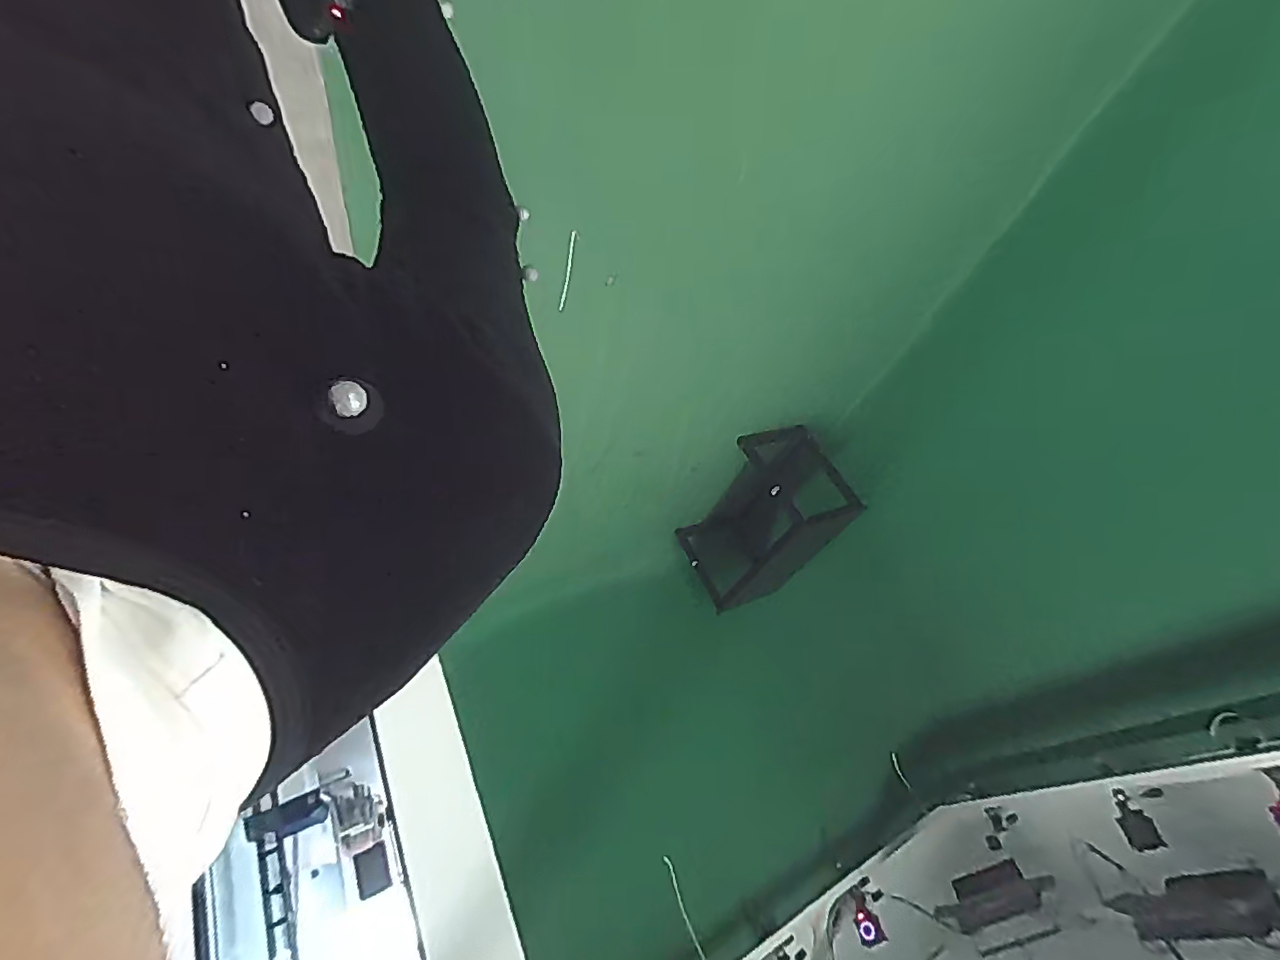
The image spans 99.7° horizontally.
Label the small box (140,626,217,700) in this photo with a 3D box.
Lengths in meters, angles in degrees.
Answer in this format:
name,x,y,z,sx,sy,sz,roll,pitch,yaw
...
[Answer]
name,x,y,z,sx,sy,sz,roll,pitch,yaw
small box,-1.600,0.634,1.883,0.168,0.176,0.179,-12,146,-27
